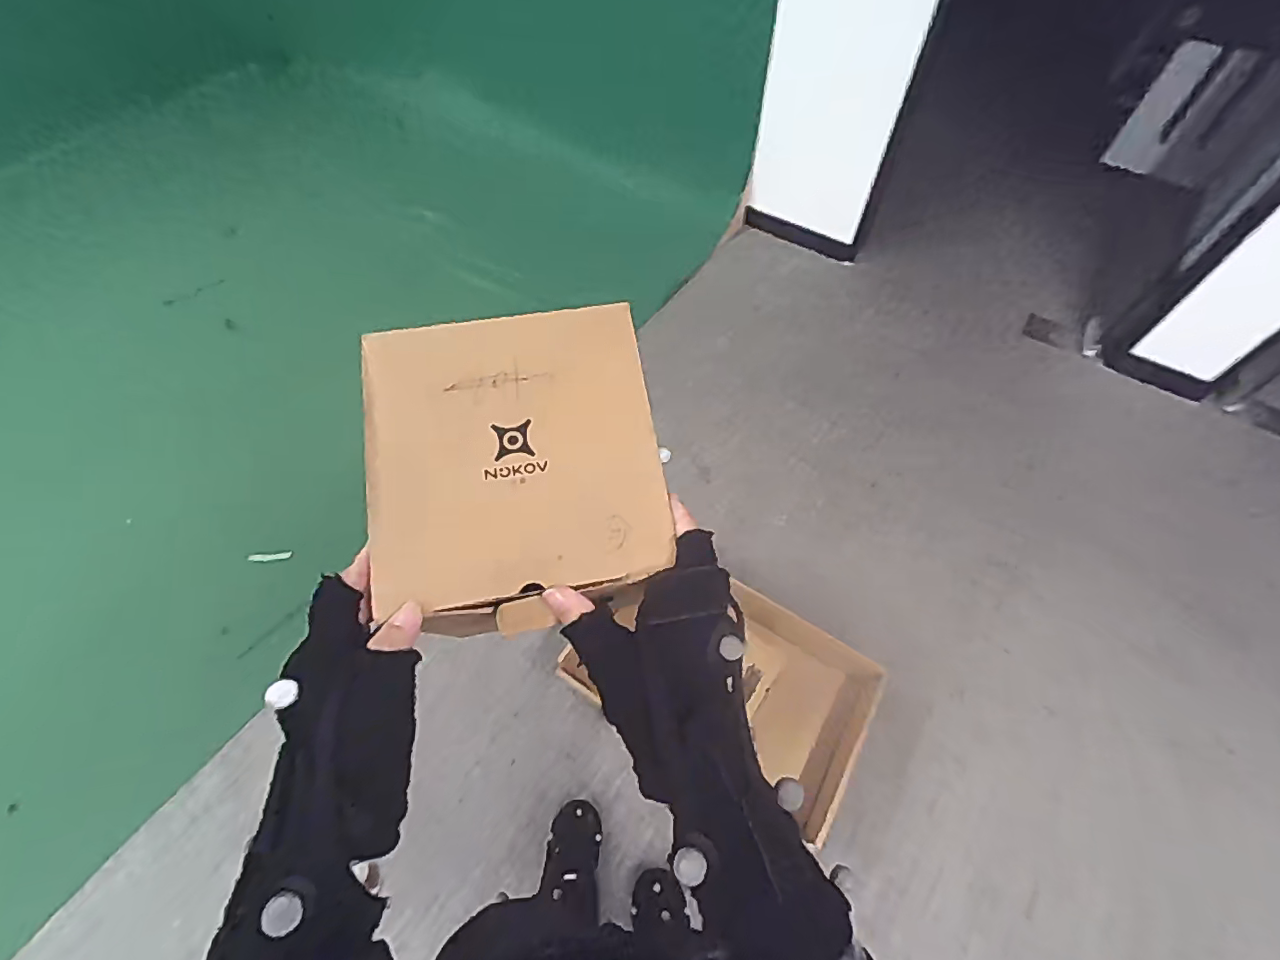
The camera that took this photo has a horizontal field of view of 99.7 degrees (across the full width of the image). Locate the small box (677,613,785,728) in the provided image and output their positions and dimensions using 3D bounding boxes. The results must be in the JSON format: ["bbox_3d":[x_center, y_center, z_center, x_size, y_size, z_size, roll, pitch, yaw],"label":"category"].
[{"bbox_3d":[0.202,0.441,1.235,0.179,0.176,0.168,34,64,23],"label":"small box"}]

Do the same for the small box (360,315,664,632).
[{"bbox_3d":[-0.083,0.010,0.396,0.168,0.176,0.179,-10,72,-7],"label":"small box"}]
